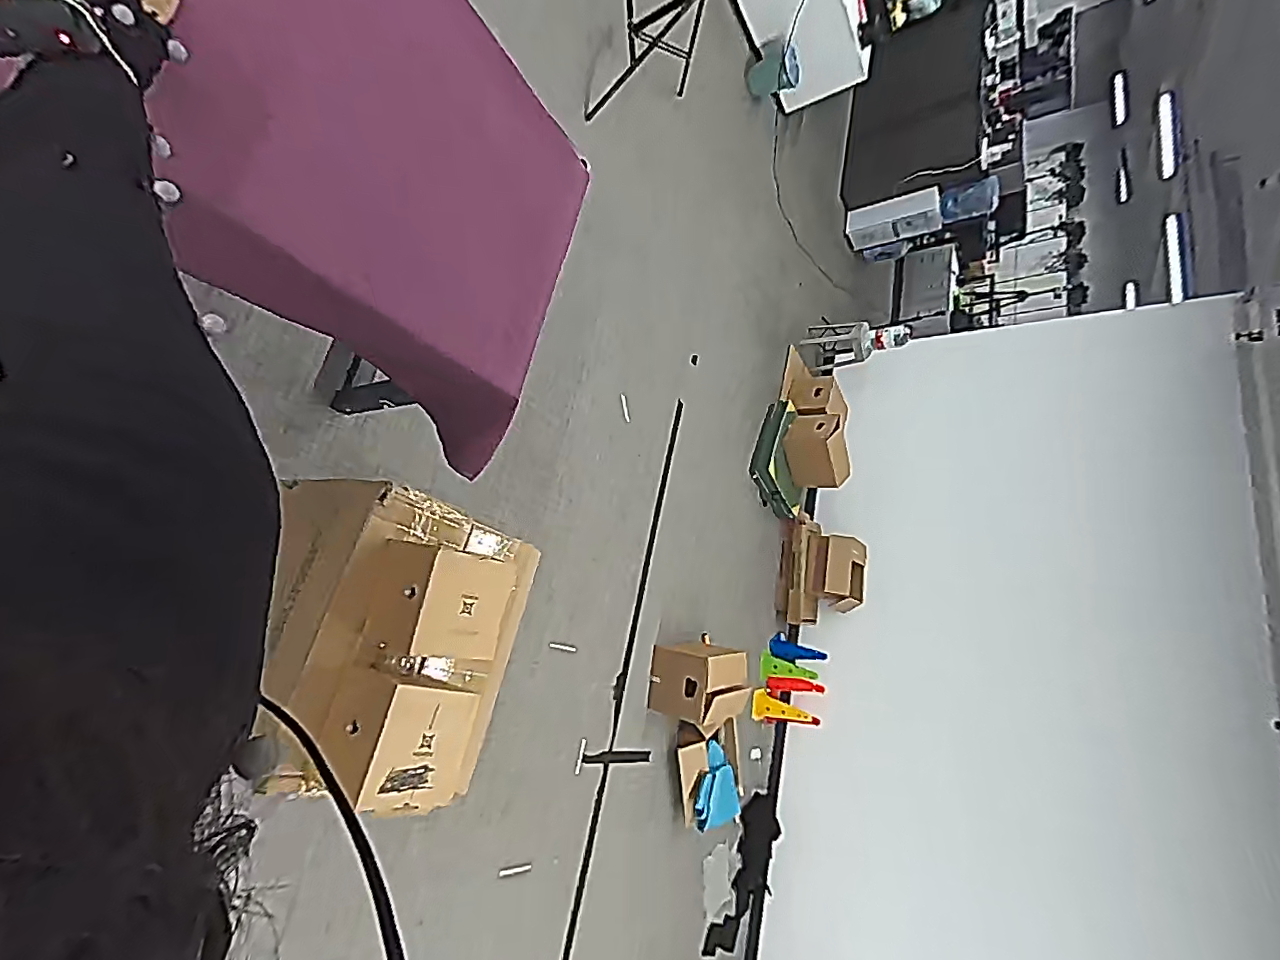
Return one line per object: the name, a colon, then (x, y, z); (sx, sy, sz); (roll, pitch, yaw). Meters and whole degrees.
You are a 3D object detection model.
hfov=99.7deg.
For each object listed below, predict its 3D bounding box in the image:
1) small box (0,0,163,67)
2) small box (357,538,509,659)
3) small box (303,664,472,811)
small box: (-0.564, -0.533, 0.502); (0.179, 0.176, 0.168); (41, 58, -46)
small box: (-0.364, 0.205, 0.951); (0.168, 0.176, 0.179); (28, 70, -48)
small box: (-0.413, 0.413, 0.882); (0.168, 0.176, 0.179); (35, 61, -47)
